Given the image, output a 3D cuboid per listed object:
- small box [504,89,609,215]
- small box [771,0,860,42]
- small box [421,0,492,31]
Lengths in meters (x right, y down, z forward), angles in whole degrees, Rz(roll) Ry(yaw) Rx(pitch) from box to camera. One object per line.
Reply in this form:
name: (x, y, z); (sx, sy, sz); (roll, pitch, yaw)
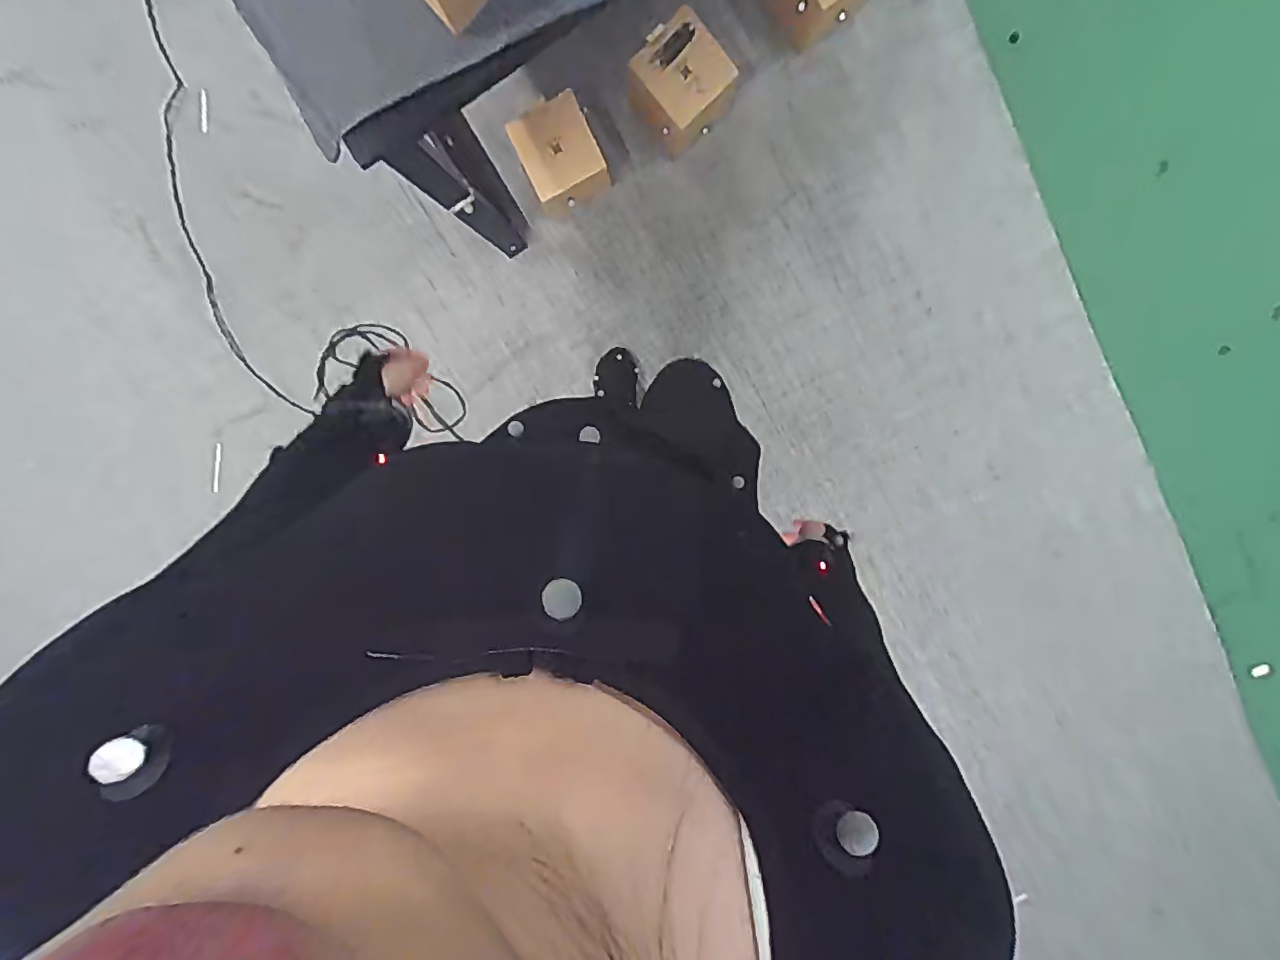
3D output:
small box: (-0.183, -0.740, 1.248); (0.168, 0.176, 0.179); (-26, 100, 6)
small box: (0.390, -1.095, 1.159); (0.168, 0.176, 0.179); (-35, 100, 7)
small box: (-0.215, -0.610, 0.528); (0.168, 0.176, 0.179); (-43, 99, 9)
